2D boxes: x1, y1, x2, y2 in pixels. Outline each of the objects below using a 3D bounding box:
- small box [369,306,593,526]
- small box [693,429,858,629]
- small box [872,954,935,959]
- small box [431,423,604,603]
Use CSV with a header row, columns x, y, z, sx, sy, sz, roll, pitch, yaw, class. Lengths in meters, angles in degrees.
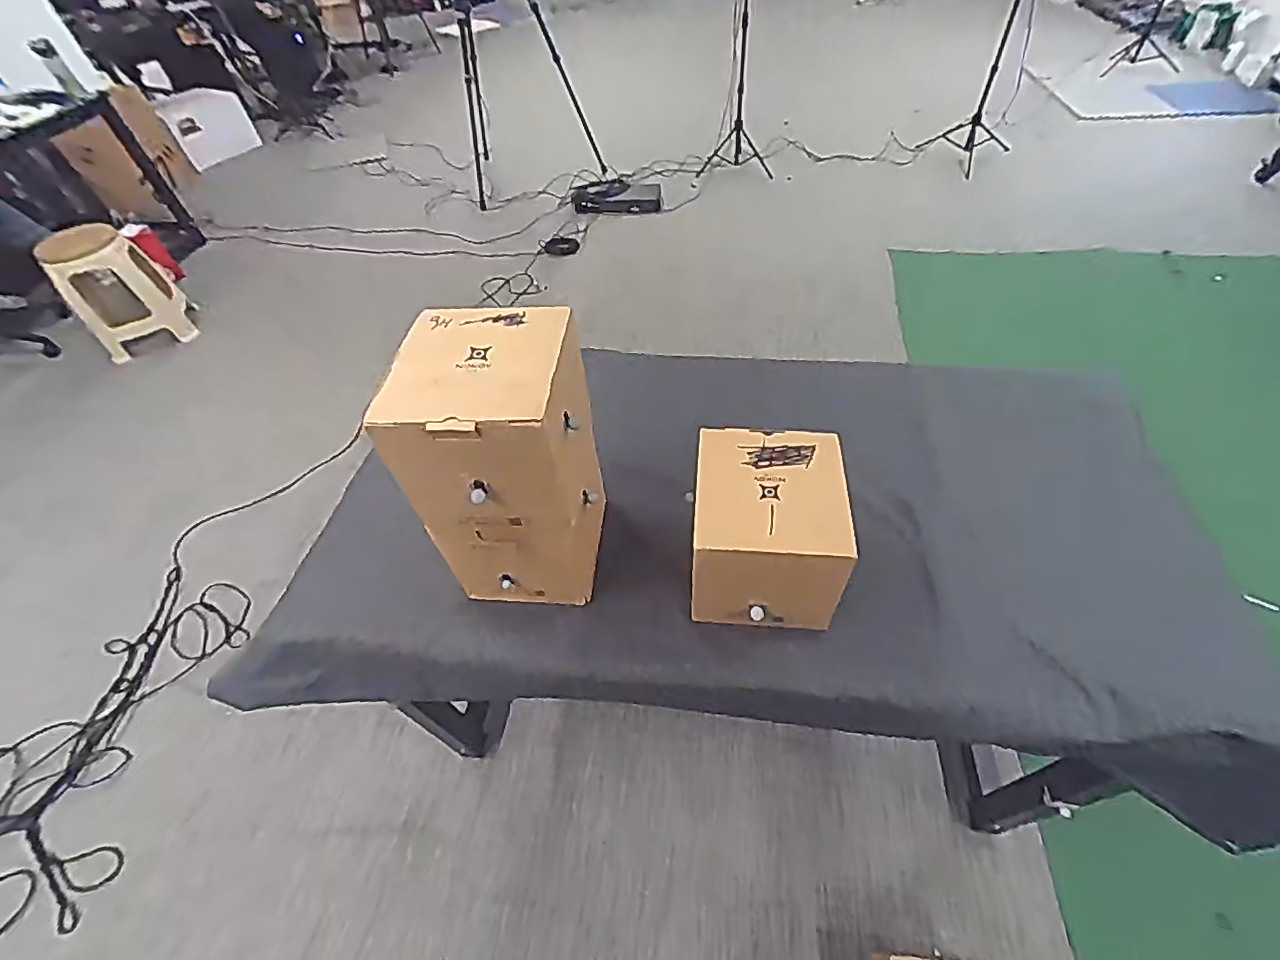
x,y,z,sx,sy,sz,roll,pitch,yaw,class
-0.149,-0.063,0.582,0.168,0.176,0.179,0,51,5,small box
0.152,0.059,0.662,0.168,0.176,0.179,2,50,8,small box
0.494,0.894,0.884,0.179,0.176,0.168,1,49,7,small box
-0.143,0.040,0.709,0.168,0.176,0.179,2,50,6,small box
